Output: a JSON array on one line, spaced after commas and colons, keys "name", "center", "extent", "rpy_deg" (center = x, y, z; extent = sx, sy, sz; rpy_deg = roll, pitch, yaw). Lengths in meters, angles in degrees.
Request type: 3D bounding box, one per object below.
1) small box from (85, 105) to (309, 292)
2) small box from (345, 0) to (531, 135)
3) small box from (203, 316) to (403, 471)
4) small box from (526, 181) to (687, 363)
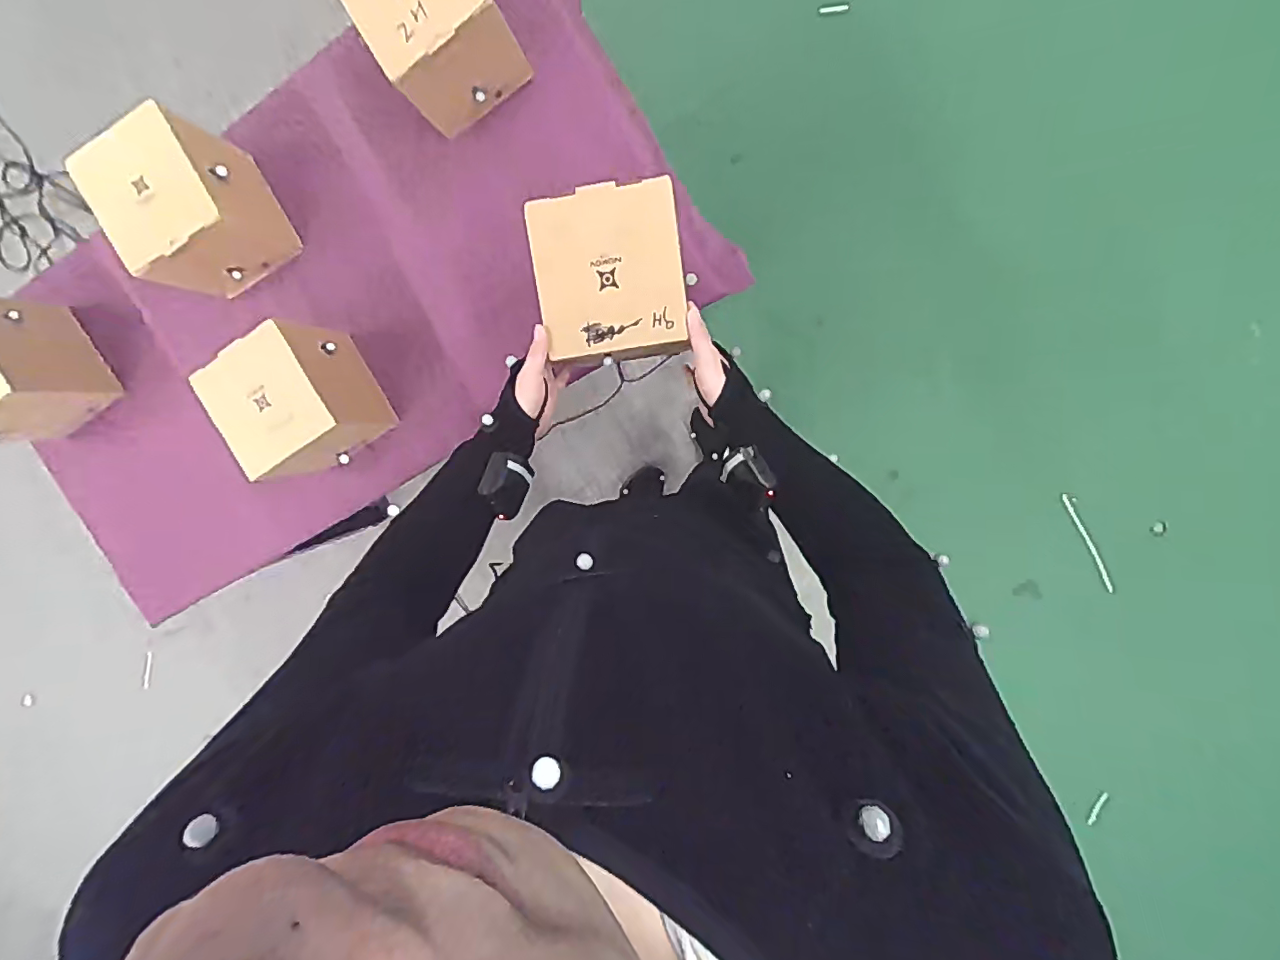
[{"name": "small box", "center": [-0.674, -0.421, 0.844], "extent": [0.168, 0.176, 0.179], "rpy_deg": [-27, 96, 9]}, {"name": "small box", "center": [-0.284, -0.643, 0.763], "extent": [0.168, 0.176, 0.179], "rpy_deg": [-30, 94, 13]}, {"name": "small box", "center": [-0.525, -0.132, 0.865], "extent": [0.168, 0.176, 0.179], "rpy_deg": [-29, 93, 11]}, {"name": "small box", "center": [-0.031, -0.248, 0.688], "extent": [0.168, 0.176, 0.179], "rpy_deg": [-6, 100, 8]}]
